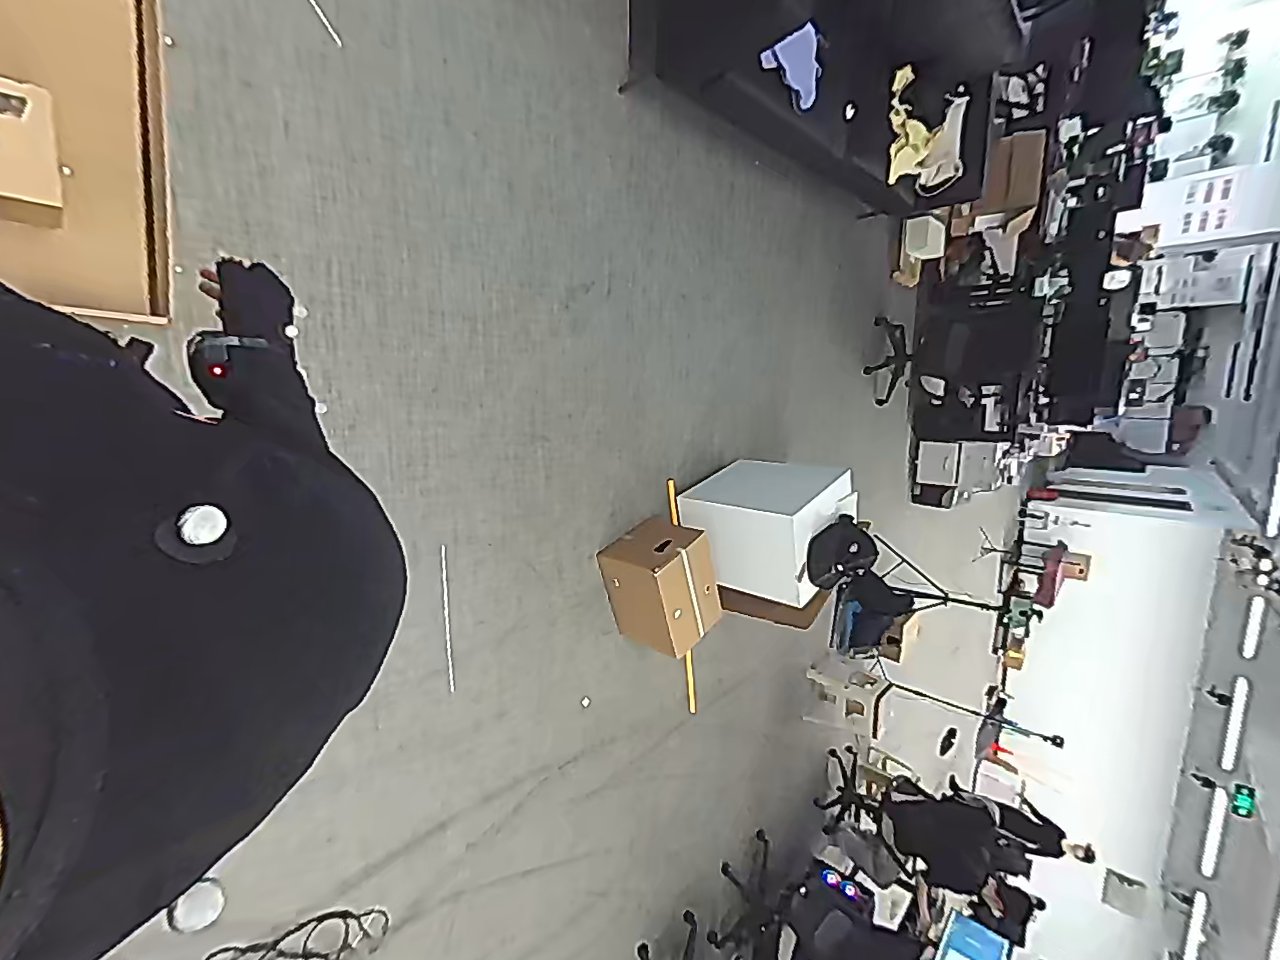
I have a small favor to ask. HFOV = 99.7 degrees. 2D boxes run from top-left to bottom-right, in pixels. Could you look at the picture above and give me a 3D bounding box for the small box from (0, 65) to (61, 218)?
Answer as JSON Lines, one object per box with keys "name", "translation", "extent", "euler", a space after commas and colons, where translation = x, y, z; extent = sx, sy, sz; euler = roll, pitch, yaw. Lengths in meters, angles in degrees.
{"name": "small box", "translation": [-1.028, -0.532, 0.835], "extent": [0.168, 0.176, 0.179], "euler": [-7, 101, -48]}
